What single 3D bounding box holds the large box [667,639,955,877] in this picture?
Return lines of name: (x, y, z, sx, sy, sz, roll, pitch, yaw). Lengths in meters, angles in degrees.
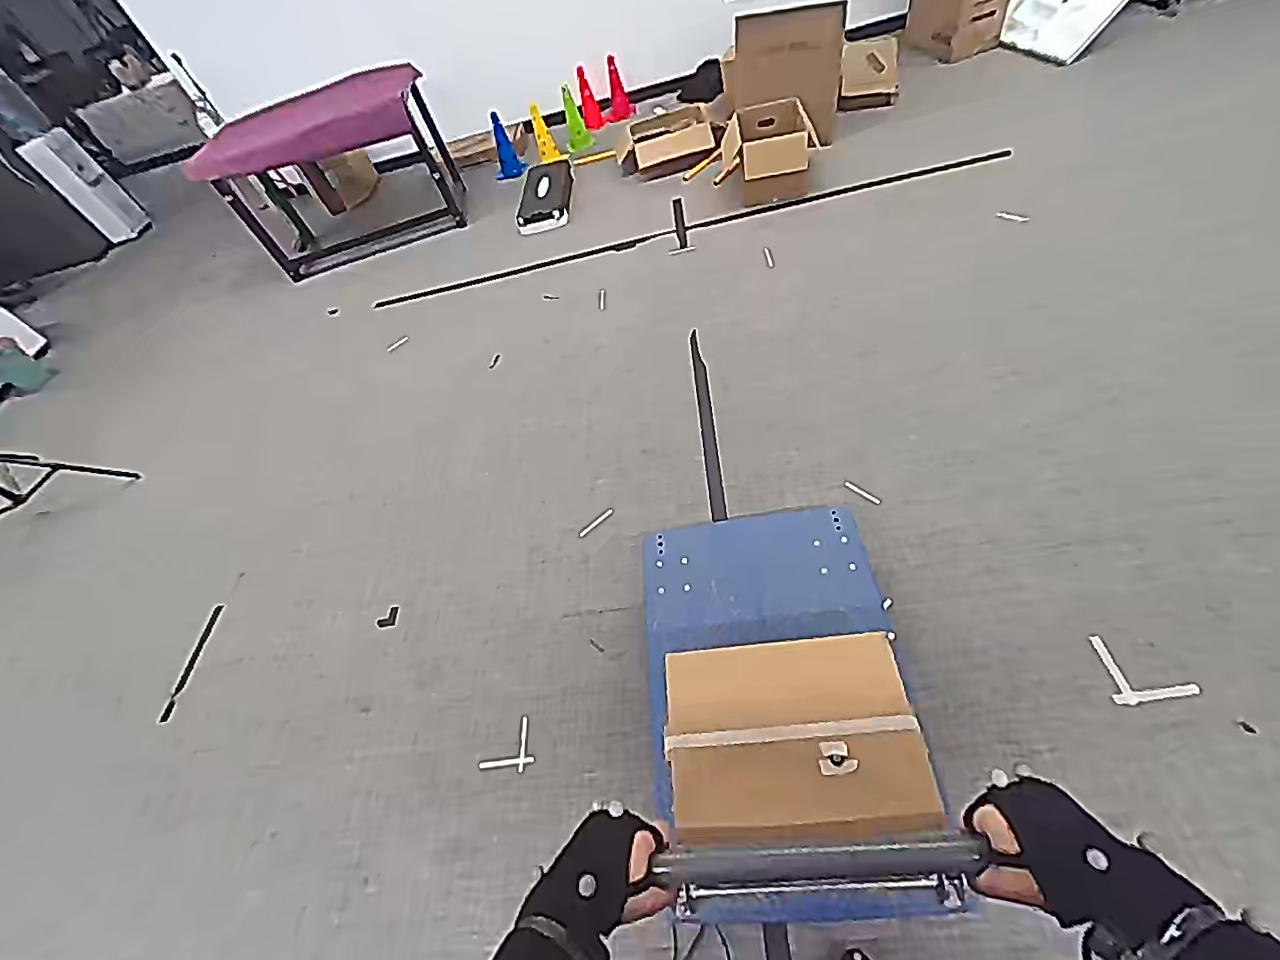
large box: (0.276, 0.520, 0.994, 0.408, 0.320, 0.320, -8, 51, 8)
